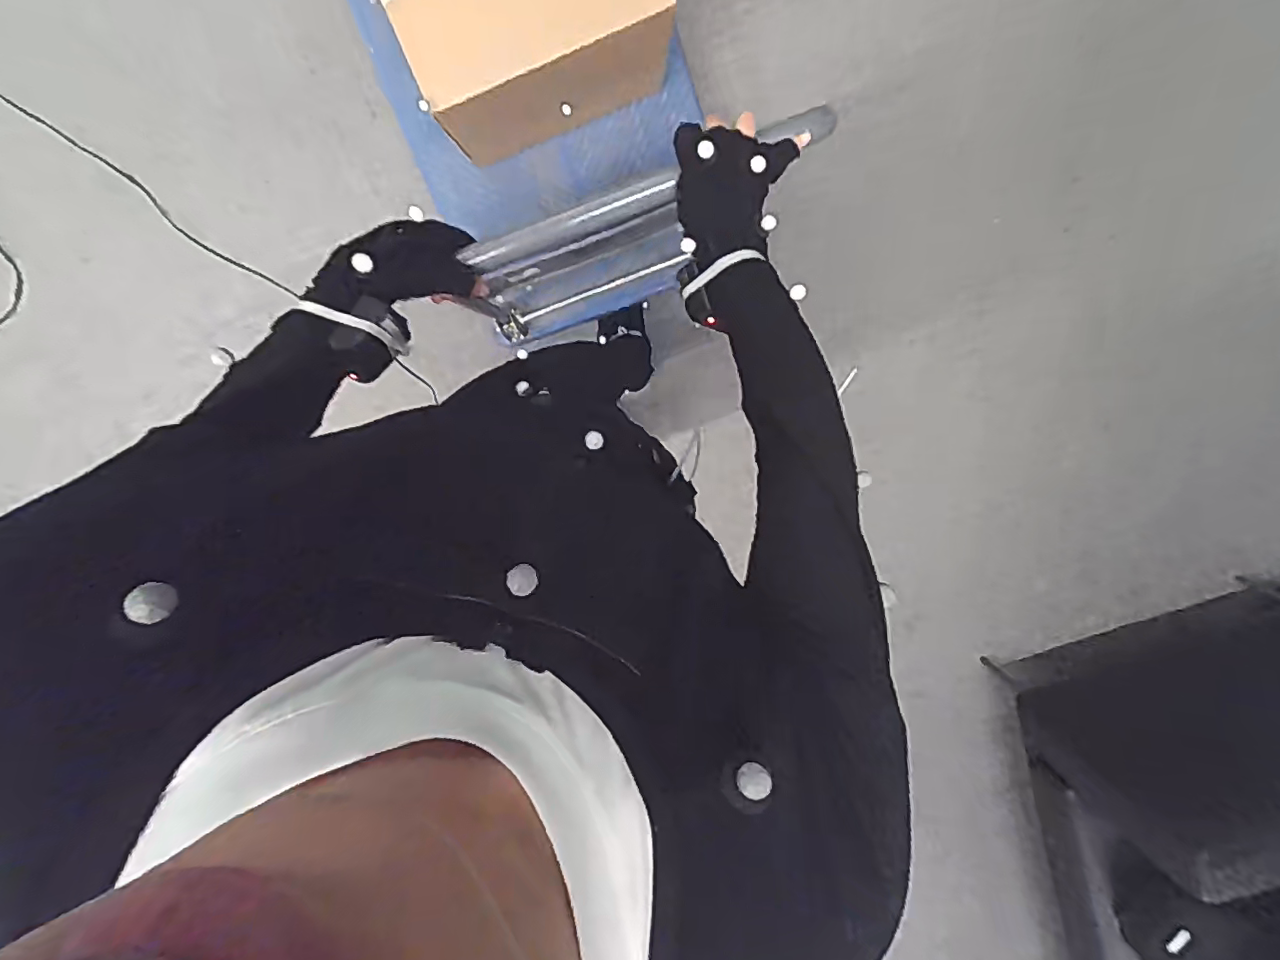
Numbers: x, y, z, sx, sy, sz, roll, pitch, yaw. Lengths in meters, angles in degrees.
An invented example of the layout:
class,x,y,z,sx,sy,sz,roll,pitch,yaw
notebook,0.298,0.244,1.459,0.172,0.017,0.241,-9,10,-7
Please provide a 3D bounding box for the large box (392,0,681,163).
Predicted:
class,x,y,z,sx,sy,sz,roll,pitch,yaw
large box,-0.181,-0.813,0.917,0.408,0.320,0.320,-22,106,5
